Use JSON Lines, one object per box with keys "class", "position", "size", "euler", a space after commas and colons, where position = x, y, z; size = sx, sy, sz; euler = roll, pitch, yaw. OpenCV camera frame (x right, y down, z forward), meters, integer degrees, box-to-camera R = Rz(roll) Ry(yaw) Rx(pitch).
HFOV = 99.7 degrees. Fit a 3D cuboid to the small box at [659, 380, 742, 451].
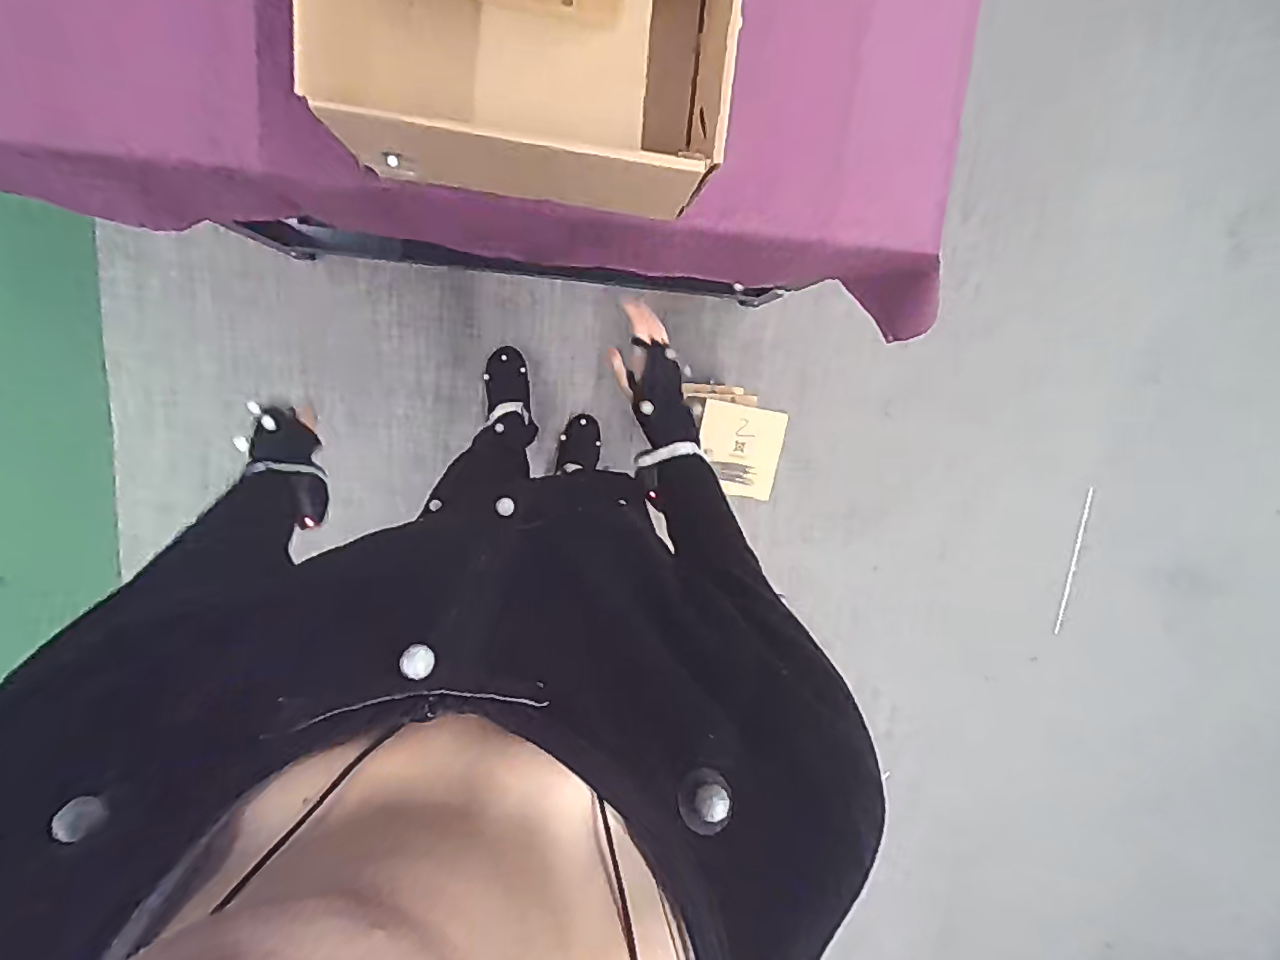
{"class": "small box", "position": [0.153, -0.173, 1.425], "size": [0.179, 0.176, 0.168], "euler": [3, 100, -6]}
